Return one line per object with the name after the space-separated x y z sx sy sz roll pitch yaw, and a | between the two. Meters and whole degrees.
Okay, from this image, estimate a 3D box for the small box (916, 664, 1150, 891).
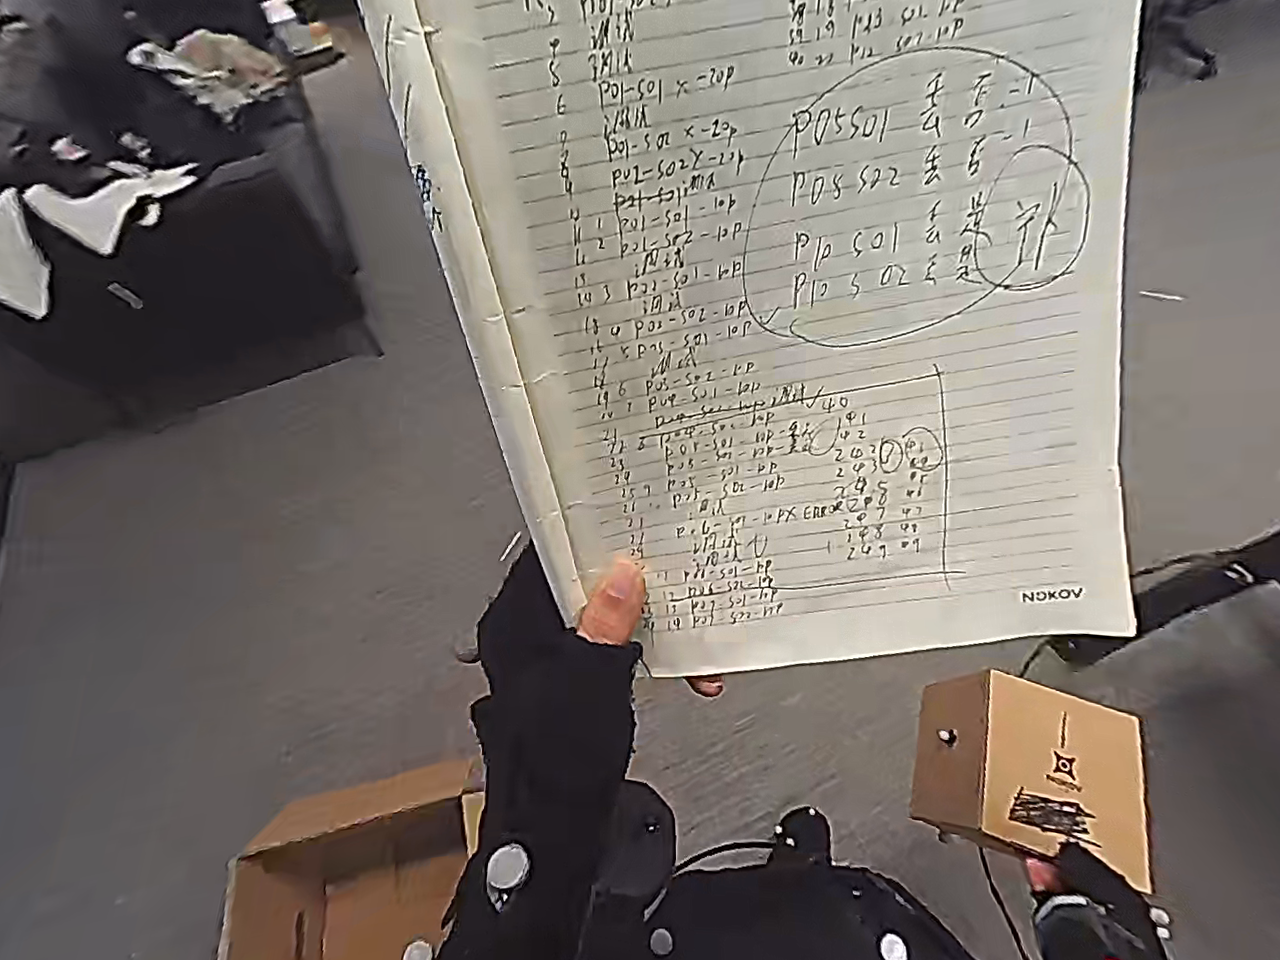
0.460 0.350 0.657 0.168 0.176 0.179 18 64 8 | small box
